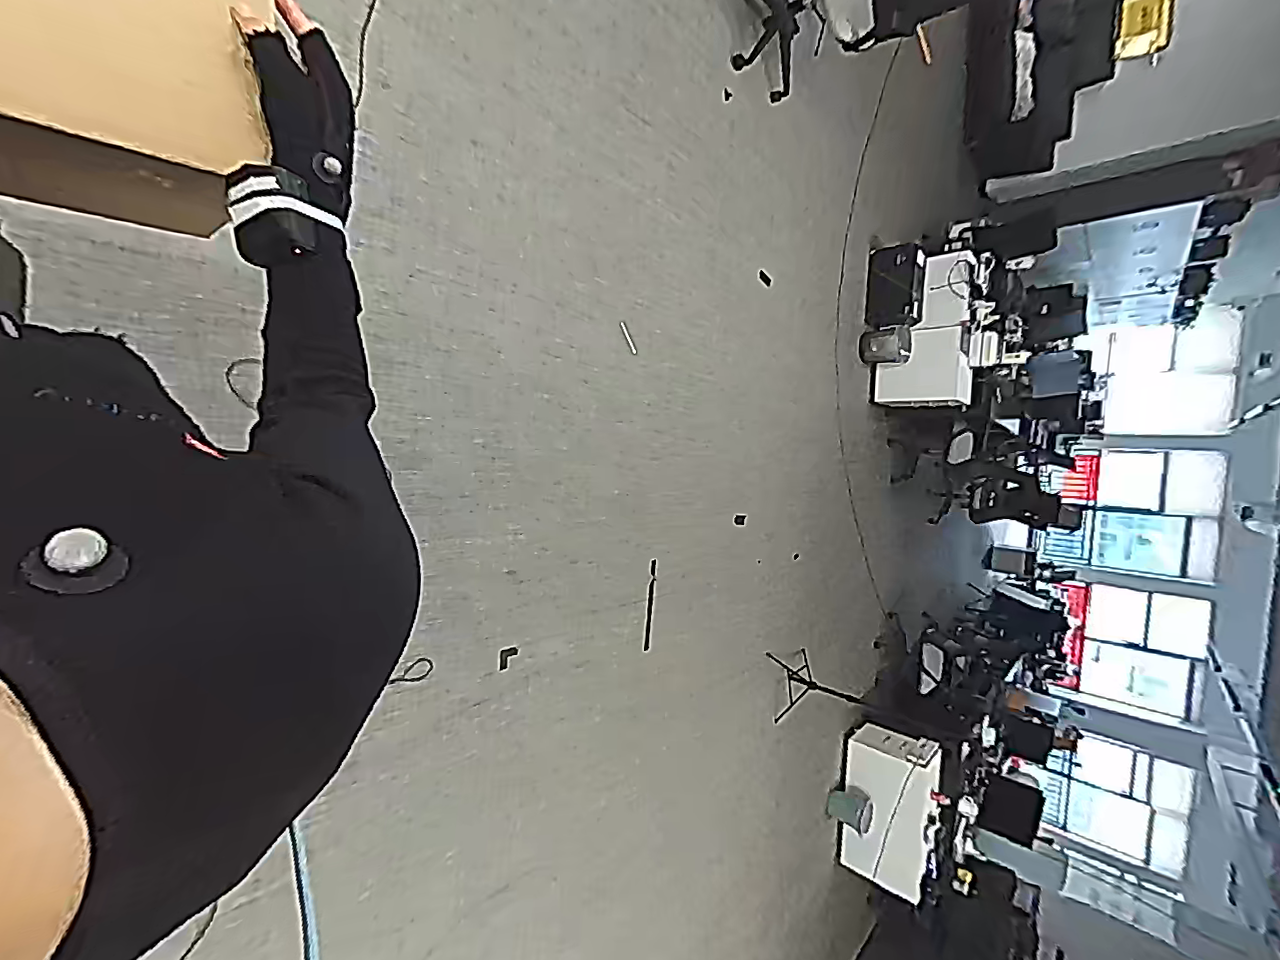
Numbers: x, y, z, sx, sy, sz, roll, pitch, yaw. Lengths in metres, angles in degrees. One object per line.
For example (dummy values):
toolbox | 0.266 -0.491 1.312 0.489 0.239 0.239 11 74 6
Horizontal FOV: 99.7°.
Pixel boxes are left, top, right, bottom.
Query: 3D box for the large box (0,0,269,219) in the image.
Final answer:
large box | -0.549 -0.422 0.388 0.408 0.320 0.320 -5 105 -47
